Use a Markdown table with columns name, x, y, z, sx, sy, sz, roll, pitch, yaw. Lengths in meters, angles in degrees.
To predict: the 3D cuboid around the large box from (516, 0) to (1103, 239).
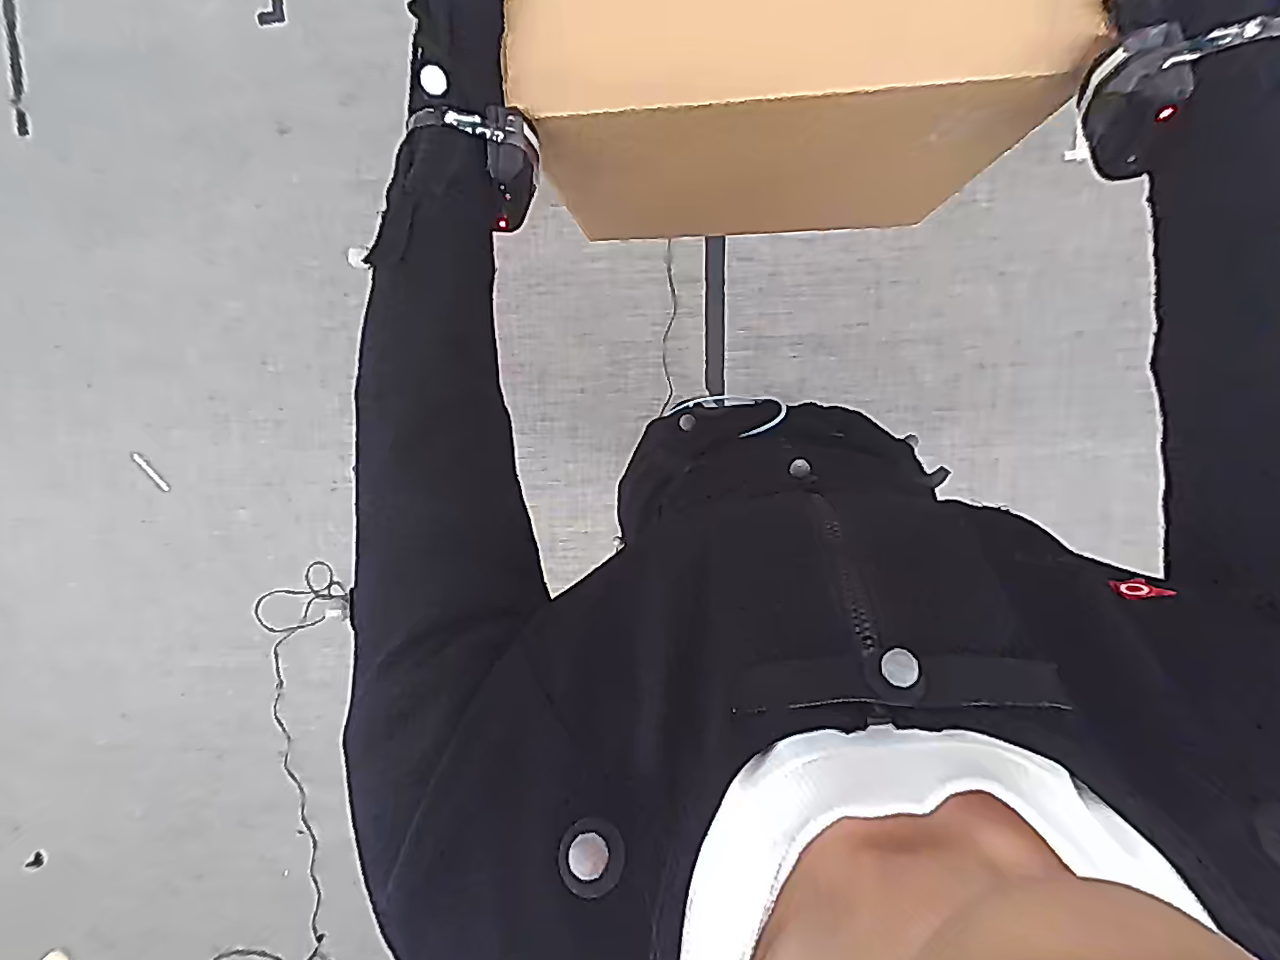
| name | x | y | z | sx | sy | sz | roll | pitch | yaw |
| --- | --- | --- | --- | --- | --- | --- | --- | --- | --- |
| large box | 0.115 | -0.443 | 0.507 | 0.408 | 0.320 | 0.320 | -1 | 99 | 5 |
